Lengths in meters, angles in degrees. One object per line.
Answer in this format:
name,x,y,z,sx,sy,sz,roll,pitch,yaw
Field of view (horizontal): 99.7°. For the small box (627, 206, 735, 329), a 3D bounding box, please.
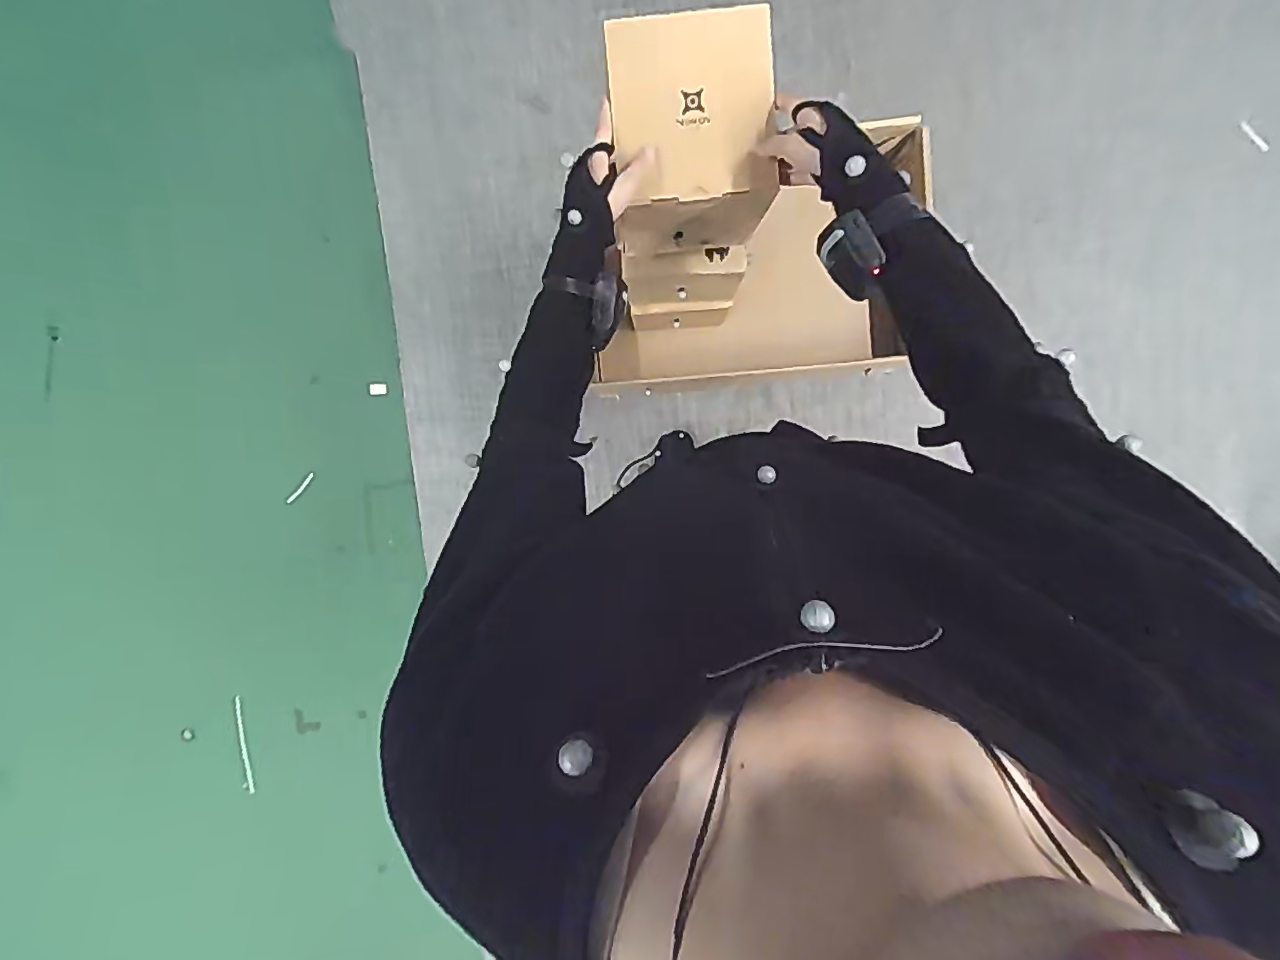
small box,0.071,-0.375,0.979,0.179,0.176,0.168,-3,94,3
